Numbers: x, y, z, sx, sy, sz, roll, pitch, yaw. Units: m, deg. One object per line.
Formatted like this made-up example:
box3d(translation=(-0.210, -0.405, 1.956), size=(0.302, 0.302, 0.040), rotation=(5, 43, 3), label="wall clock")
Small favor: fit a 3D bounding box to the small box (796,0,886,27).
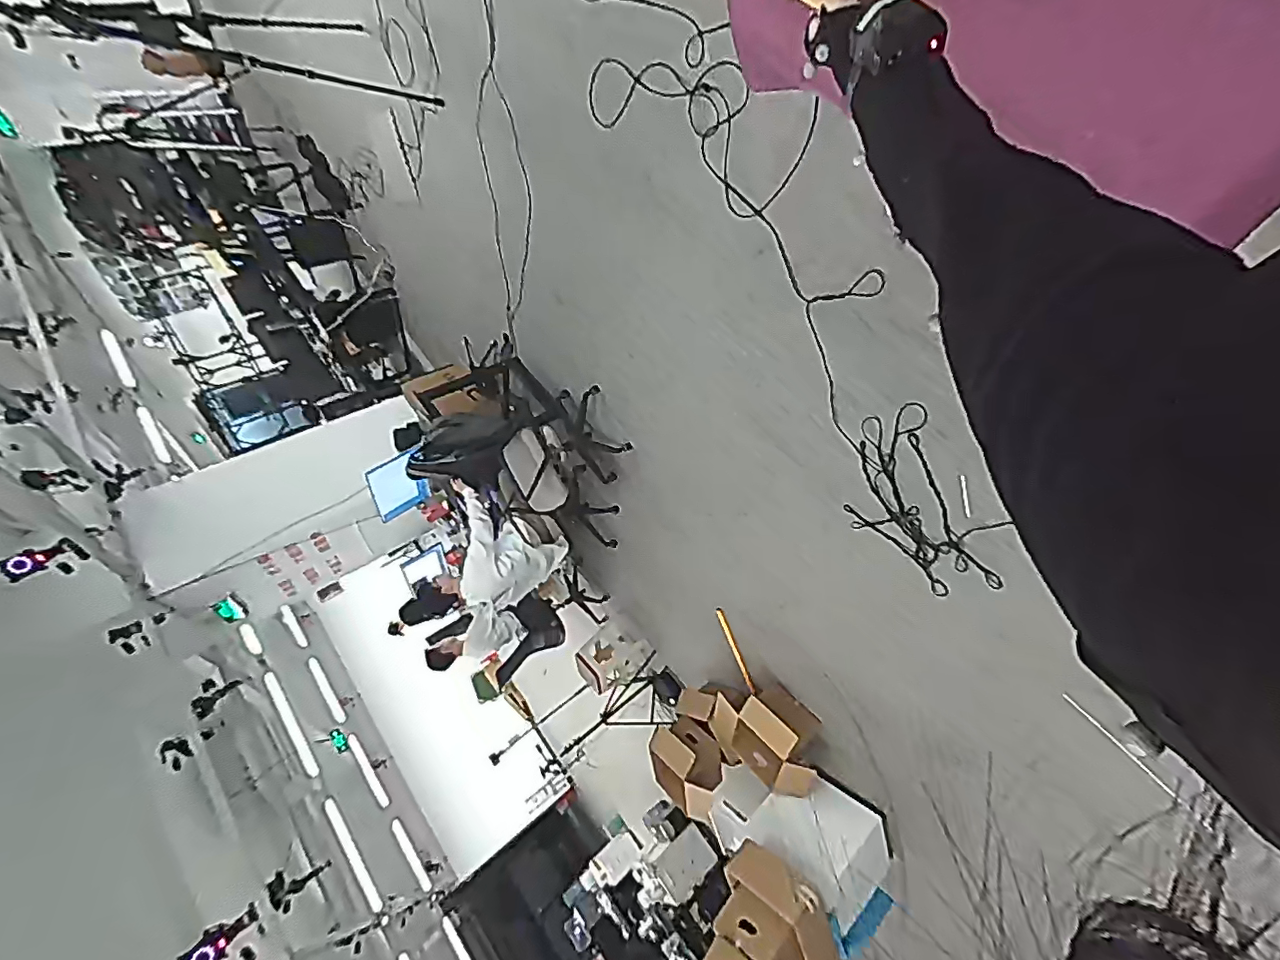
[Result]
box3d(translation=(0.213, -0.591, 0.516), size=(0.168, 0.176, 0.179), rotation=(41, 153, 13), label="small box")
